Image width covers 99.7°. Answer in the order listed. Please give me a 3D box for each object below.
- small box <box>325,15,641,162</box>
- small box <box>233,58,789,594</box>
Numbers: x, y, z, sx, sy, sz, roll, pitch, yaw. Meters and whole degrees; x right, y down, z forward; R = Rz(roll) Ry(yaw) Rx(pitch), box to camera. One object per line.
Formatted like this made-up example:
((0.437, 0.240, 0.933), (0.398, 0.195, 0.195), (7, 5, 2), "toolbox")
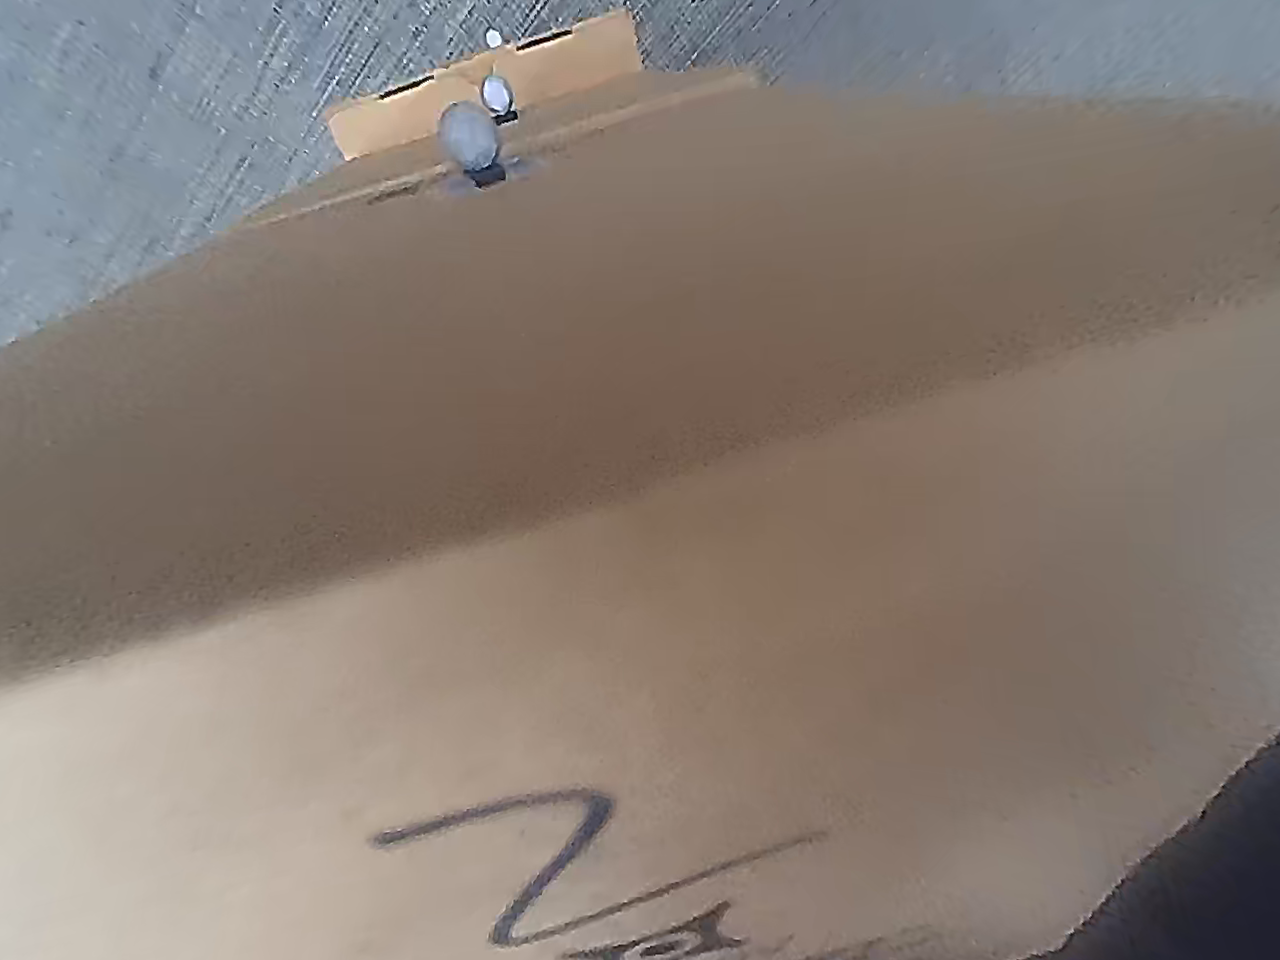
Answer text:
((-0.077, -0.194, 0.386), (0.168, 0.176, 0.179), (-19, 128, 0), "small box")
((-0.040, -0.080, 0.271), (0.168, 0.176, 0.179), (-17, 128, 0), "small box")
